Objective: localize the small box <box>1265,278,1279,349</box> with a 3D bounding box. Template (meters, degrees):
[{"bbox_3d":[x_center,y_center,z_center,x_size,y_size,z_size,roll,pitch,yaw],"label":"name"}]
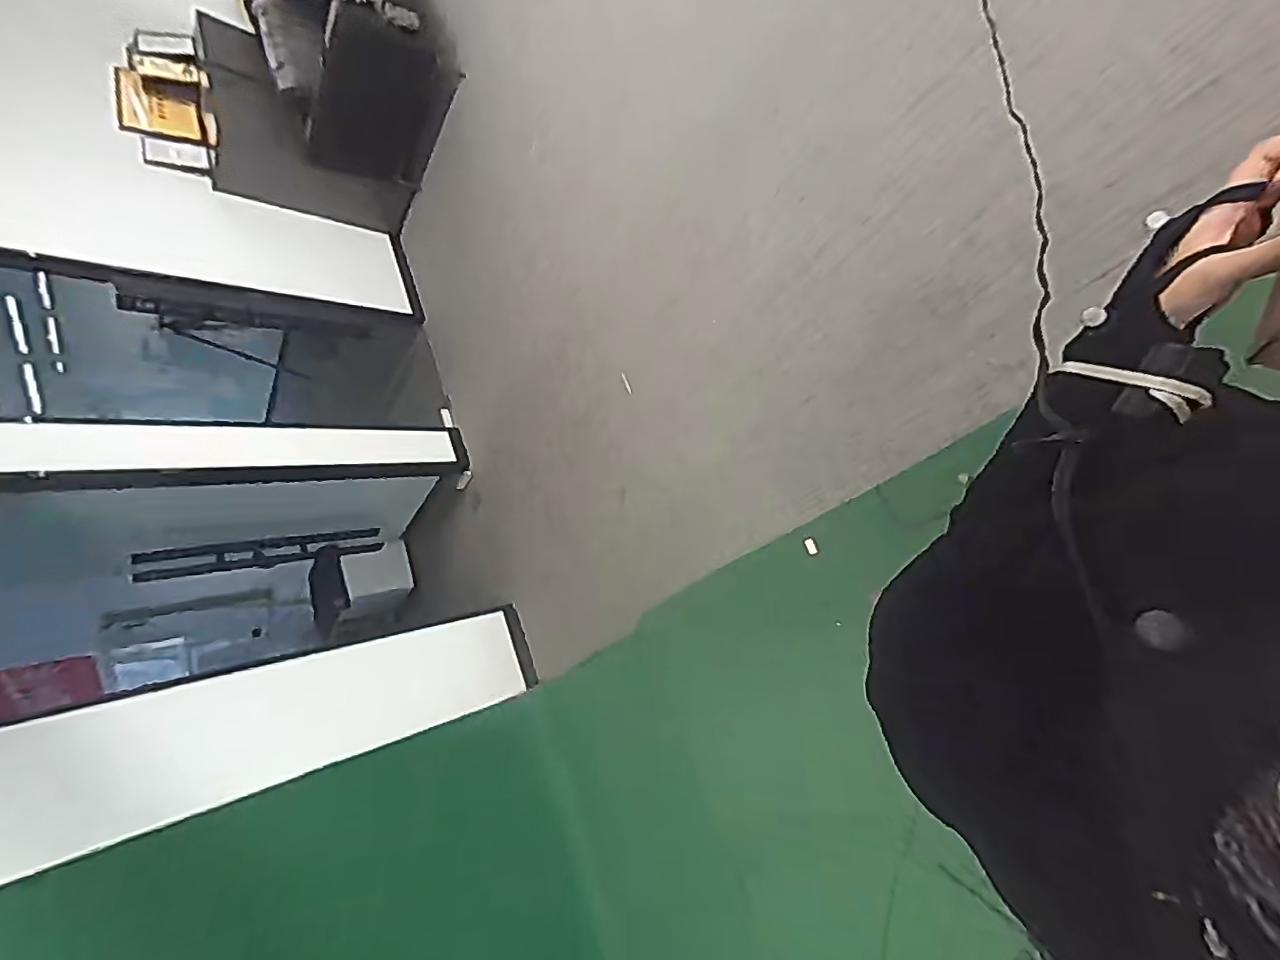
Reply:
[{"bbox_3d":[0.481,-0.163,0.276,0.168,0.176,0.179,18,95,38],"label":"small box"}]
